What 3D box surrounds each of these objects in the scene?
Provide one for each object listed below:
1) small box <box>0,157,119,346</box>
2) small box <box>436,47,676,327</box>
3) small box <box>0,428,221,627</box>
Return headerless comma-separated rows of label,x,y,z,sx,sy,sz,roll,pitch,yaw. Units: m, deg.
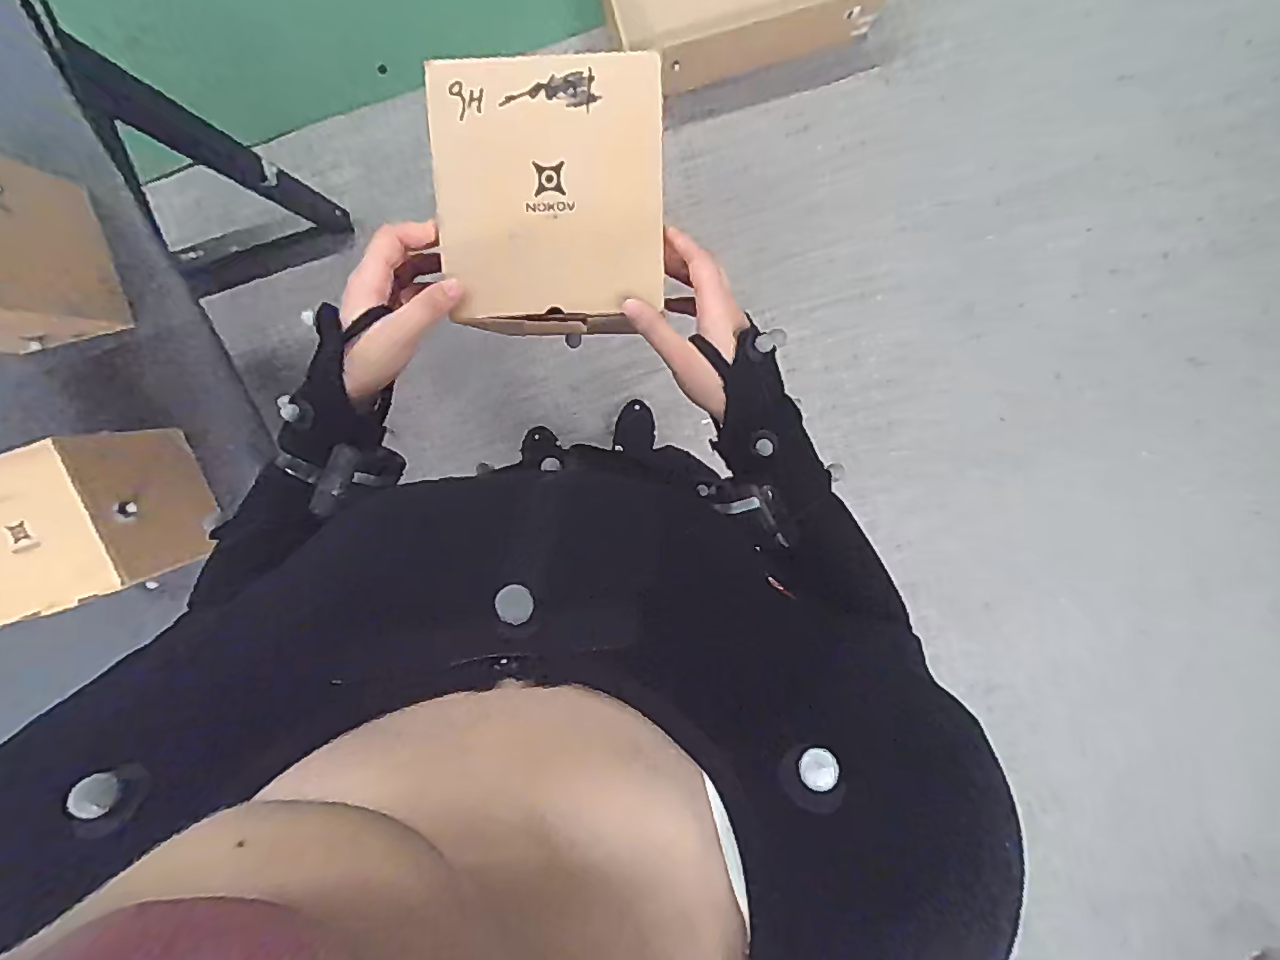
small box,-0.748,-0.253,0.592,0.168,0.176,0.179,-12,101,2
small box,-0.055,-0.223,0.460,0.168,0.176,0.179,-1,102,1
small box,-0.663,0.046,0.649,0.168,0.176,0.179,-18,99,2
